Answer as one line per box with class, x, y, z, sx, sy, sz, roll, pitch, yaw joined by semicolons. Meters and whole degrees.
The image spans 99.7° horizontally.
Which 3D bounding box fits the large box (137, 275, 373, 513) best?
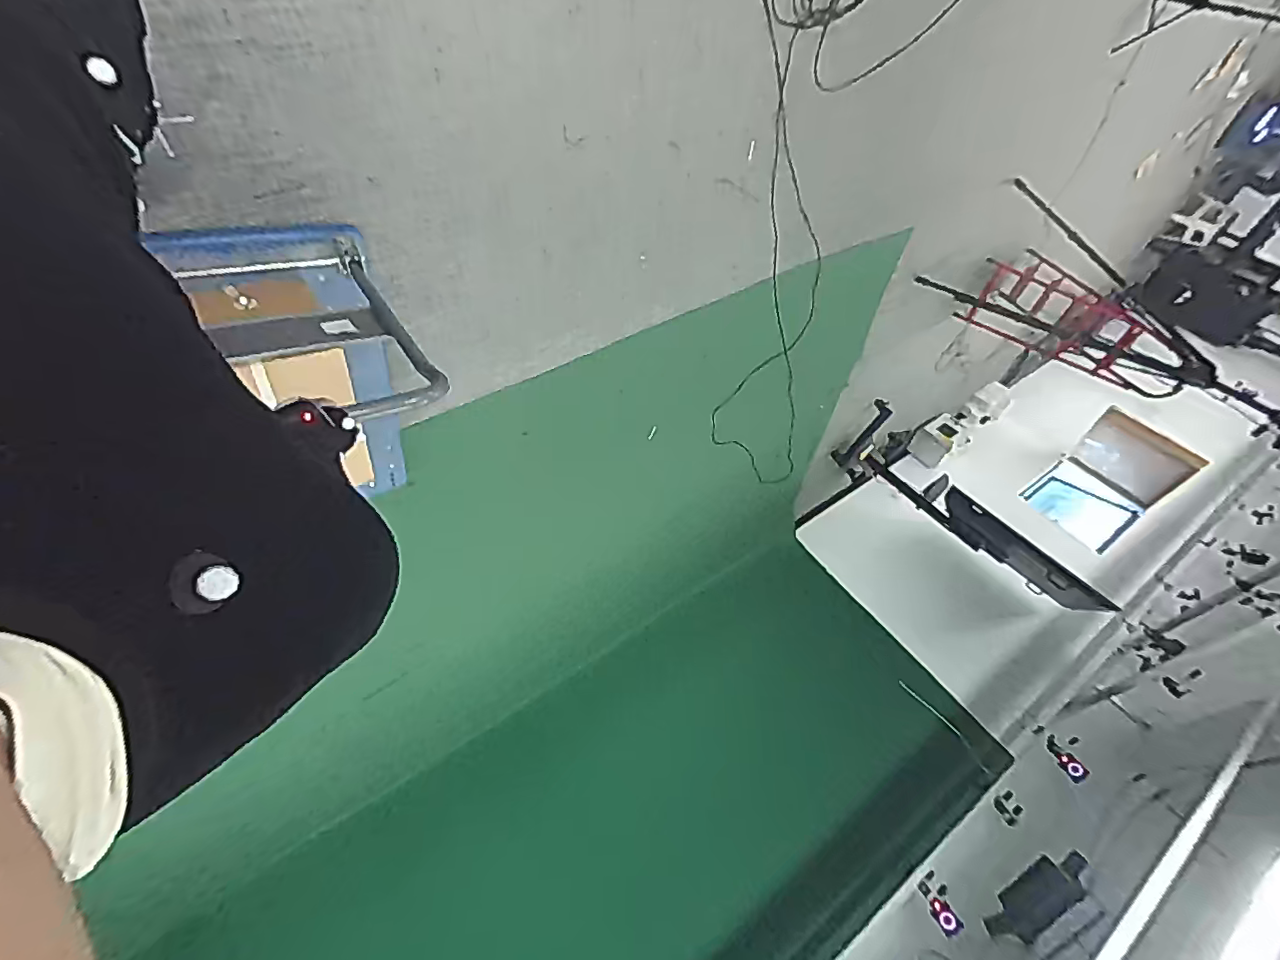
large box;-0.868;-0.204;1.258;0.320;0.320;0.408;-21;145;-30
